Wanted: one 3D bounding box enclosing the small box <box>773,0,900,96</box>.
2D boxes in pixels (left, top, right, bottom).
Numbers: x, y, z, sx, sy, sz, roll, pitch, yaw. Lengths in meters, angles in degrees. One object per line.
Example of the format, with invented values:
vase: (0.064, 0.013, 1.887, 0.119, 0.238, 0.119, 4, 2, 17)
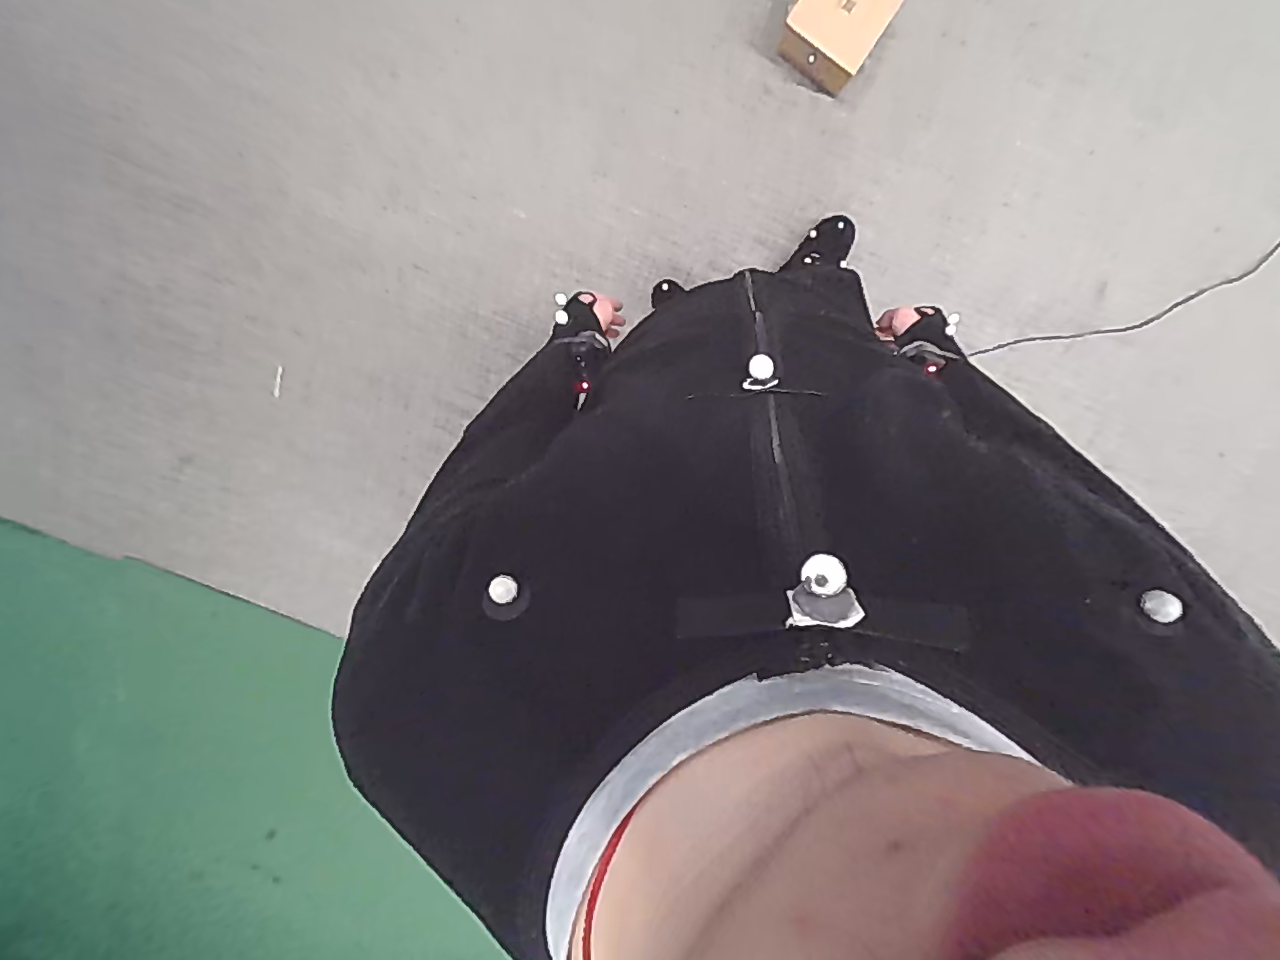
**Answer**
small box: (0.400, -0.950, 1.134, 0.179, 0.176, 0.168, 32, 113, -8)
